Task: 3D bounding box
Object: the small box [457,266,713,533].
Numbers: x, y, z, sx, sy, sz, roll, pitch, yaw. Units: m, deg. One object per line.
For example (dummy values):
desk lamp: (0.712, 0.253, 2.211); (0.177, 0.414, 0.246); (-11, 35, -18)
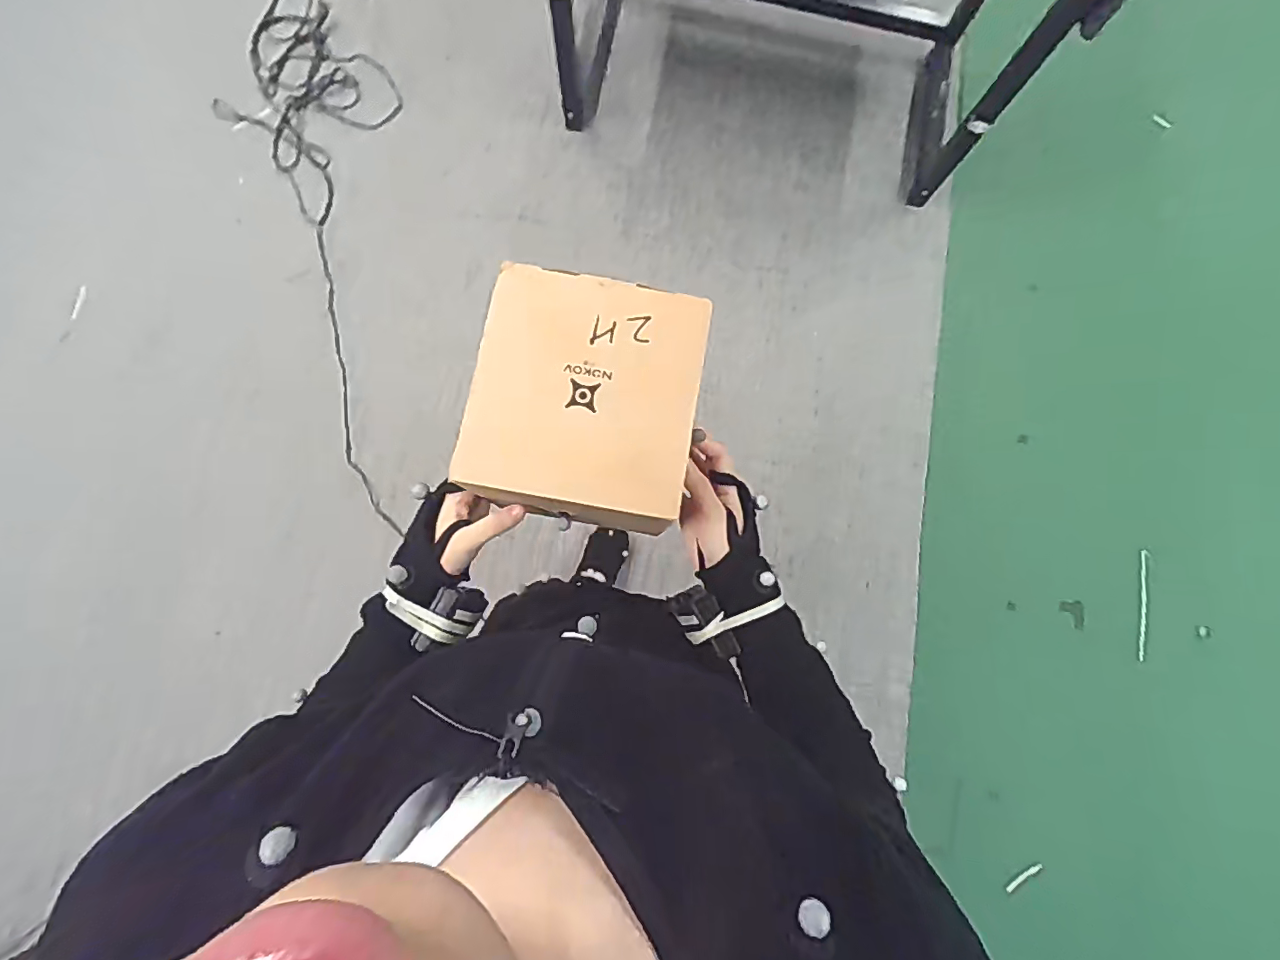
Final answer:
small box: (-0.041, -0.054, 0.481); (0.168, 0.176, 0.179); (11, 80, -2)
